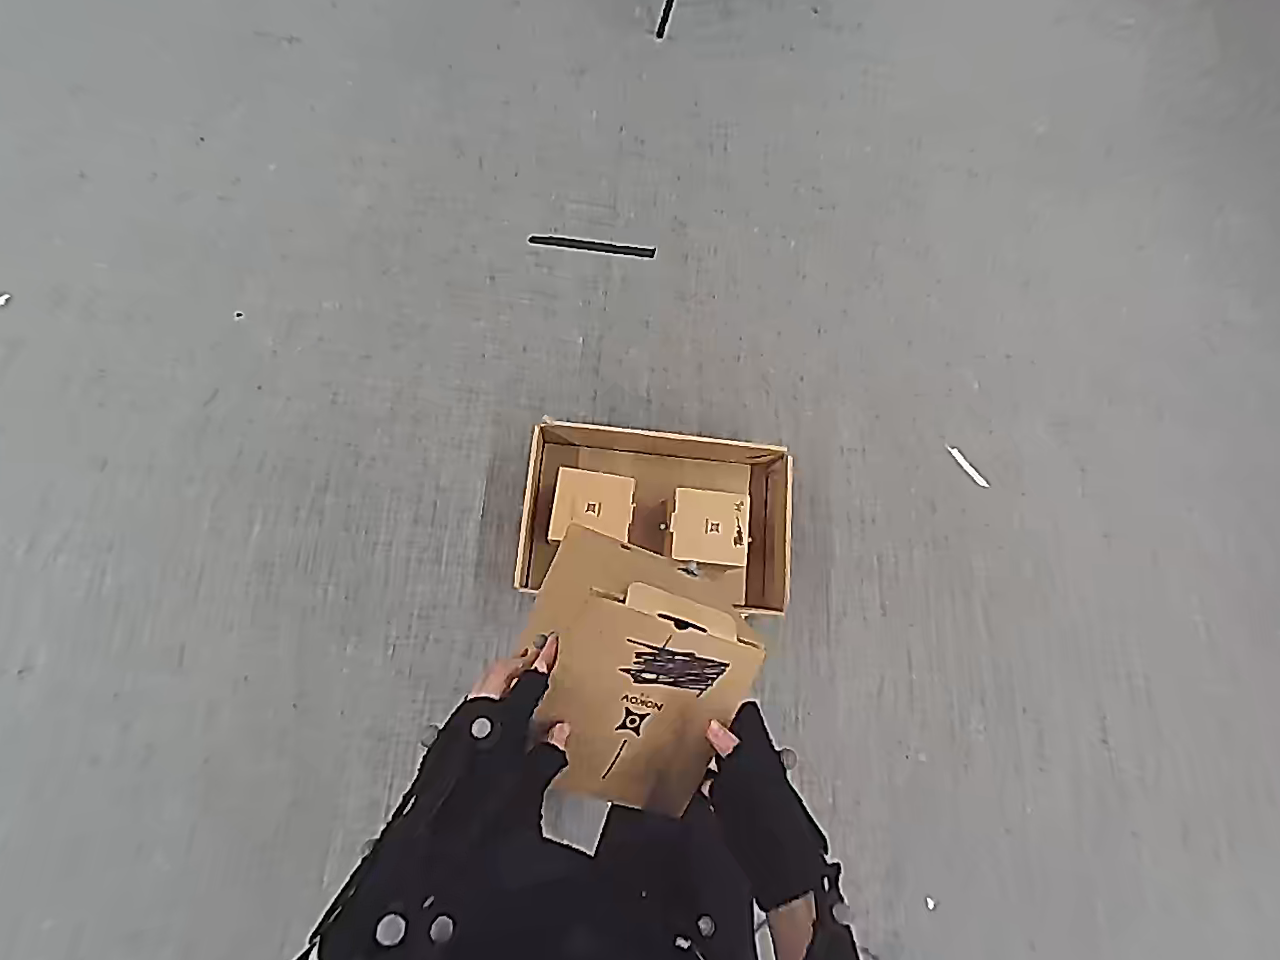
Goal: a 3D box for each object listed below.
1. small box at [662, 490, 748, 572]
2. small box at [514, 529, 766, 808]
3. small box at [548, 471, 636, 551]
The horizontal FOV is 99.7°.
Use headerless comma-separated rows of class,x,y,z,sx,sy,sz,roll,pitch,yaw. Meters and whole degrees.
small box,0.149,0.129,1.297,0.179,0.176,0.168,6,77,-4
small box,-0.015,0.166,0.523,0.168,0.176,0.179,22,97,-16
small box,-0.114,0.088,1.273,0.179,0.176,0.168,9,76,-5
